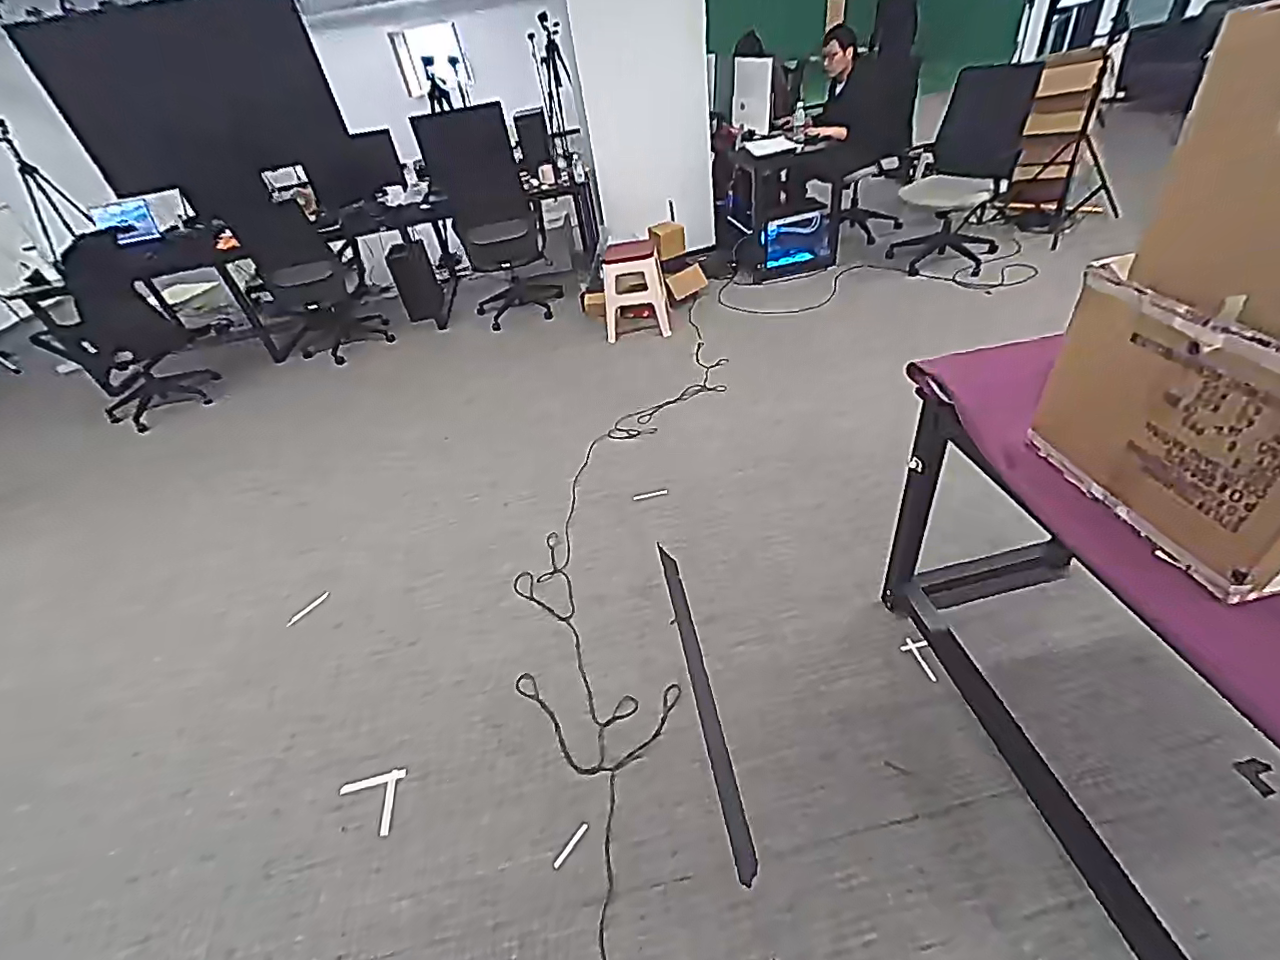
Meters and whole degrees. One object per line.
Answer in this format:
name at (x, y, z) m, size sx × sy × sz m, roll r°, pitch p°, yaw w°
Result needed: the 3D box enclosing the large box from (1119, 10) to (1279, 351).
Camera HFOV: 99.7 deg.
large box at (0.873, -0.344, 0.574) m, size 0.408 × 0.320 × 0.320 m, roll -12°, pitch 35°, yaw 0°
